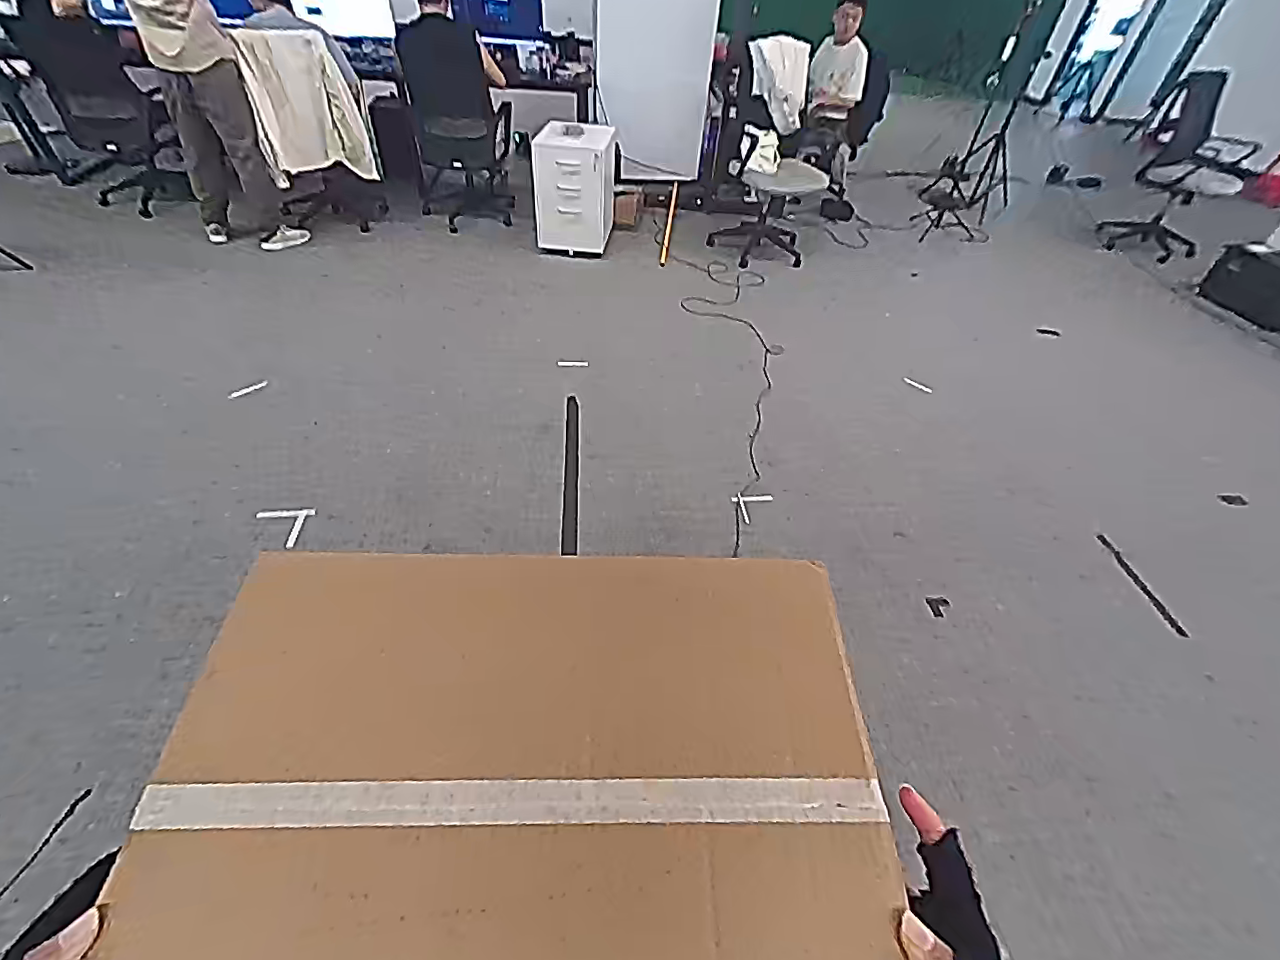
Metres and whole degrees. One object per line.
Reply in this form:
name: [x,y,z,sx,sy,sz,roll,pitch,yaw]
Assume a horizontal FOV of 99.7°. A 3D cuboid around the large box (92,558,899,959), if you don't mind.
large box: [-0.074,0.272,0.429,0.408,0.320,0.320,1,53,-2]
